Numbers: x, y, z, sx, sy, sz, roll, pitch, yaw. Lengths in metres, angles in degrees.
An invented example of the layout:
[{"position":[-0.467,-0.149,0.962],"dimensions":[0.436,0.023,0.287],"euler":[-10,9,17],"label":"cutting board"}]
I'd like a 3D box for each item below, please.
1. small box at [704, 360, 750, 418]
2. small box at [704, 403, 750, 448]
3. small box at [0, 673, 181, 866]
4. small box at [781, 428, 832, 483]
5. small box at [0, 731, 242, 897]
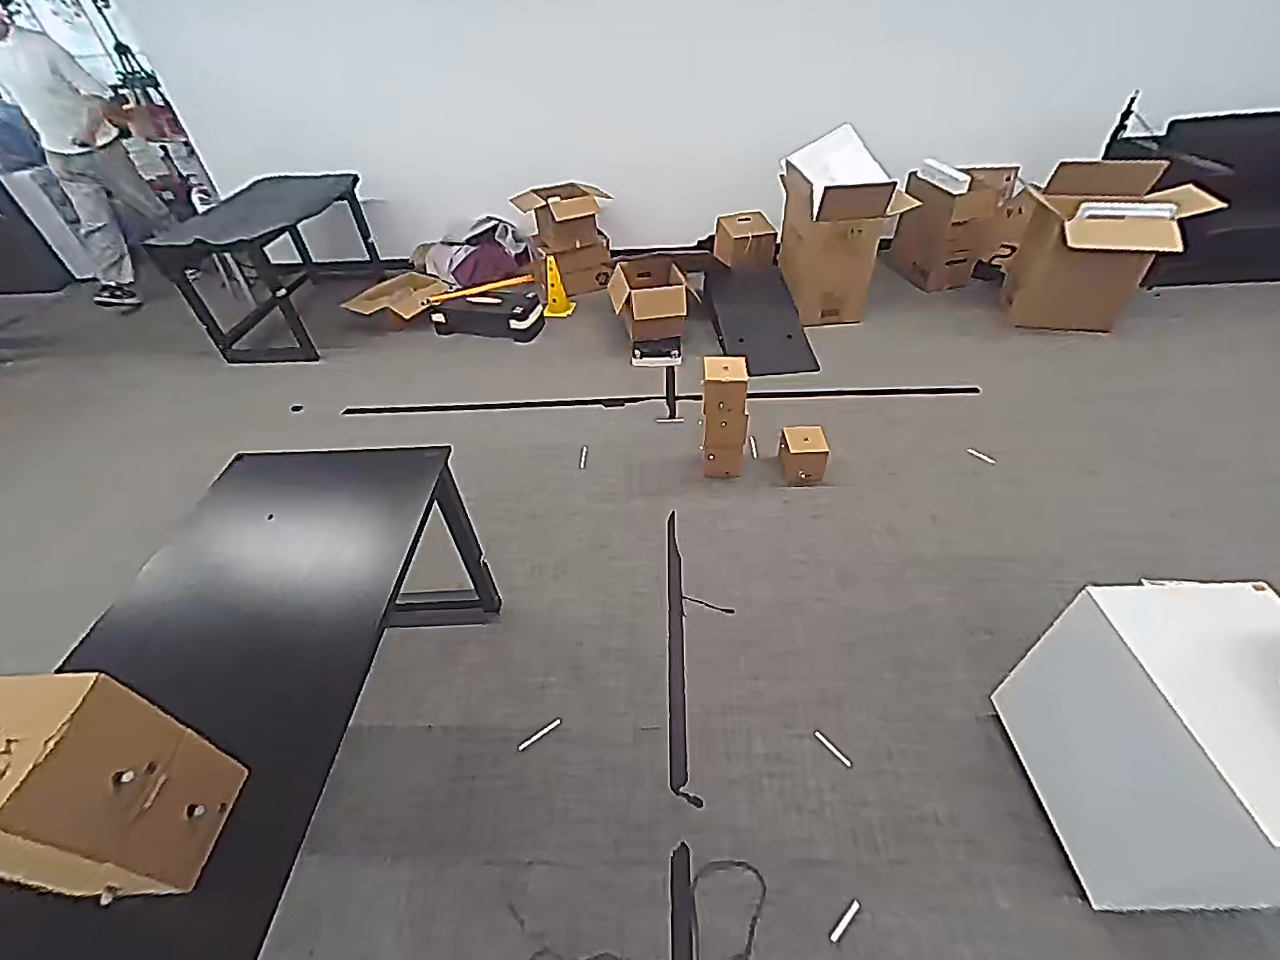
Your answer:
[{"position":[0.349,-0.371,2.195],"dimensions":[0.168,0.176,0.179],"euler":[1,44,3],"label":"small box"},{"position":[0.366,-0.248,2.300],"dimensions":[0.179,0.176,0.168],"euler":[0,43,2],"label":"small box"},{"position":[-0.734,0.353,0.657],"dimensions":[0.179,0.176,0.168],"euler":[-2,43,1],"label":"small box"},{"position":[0.723,-0.106,2.371],"dimensions":[0.168,0.176,0.179],"euler":[-3,44,2],"label":"small box"},{"position":[-0.724,0.474,0.769],"dimensions":[0.179,0.176,0.168],"euler":[-2,42,1],"label":"small box"}]
